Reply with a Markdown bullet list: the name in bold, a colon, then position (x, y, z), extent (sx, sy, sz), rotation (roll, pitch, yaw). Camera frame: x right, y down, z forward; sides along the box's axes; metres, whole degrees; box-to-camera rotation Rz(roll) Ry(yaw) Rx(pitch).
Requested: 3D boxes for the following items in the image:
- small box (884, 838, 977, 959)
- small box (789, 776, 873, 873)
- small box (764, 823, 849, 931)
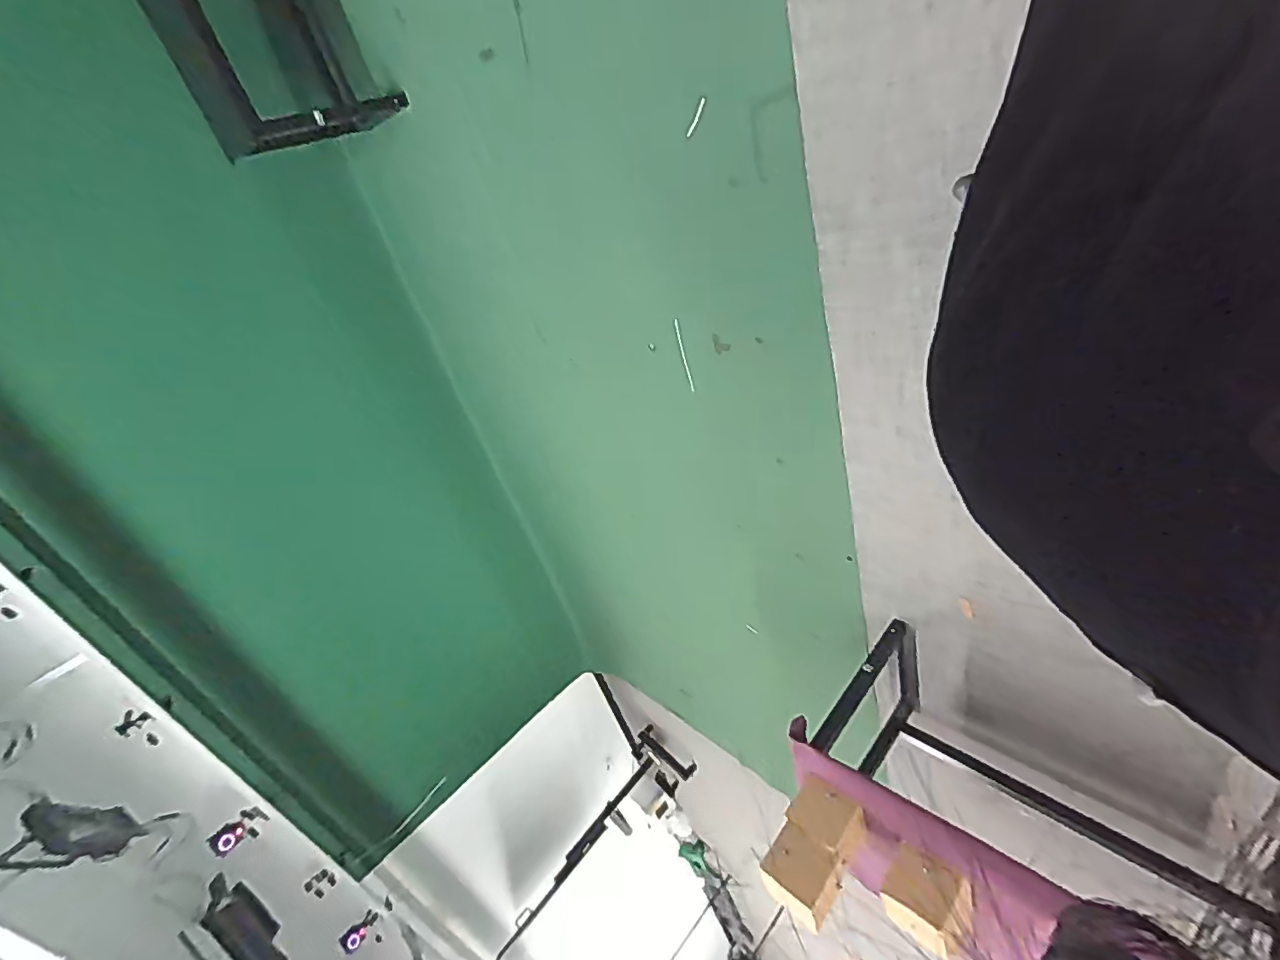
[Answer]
- **small box**: position (0.804, 1.145, 1.487), extent (0.168, 0.176, 0.179), rotation (8, 129, 50)
- **small box**: position (0.599, 1.068, 1.689), extent (0.179, 0.176, 0.168), rotation (11, 131, 49)
- **small box**: position (0.496, 1.163, 1.602), extent (0.179, 0.176, 0.168), rotation (17, 135, 44)
